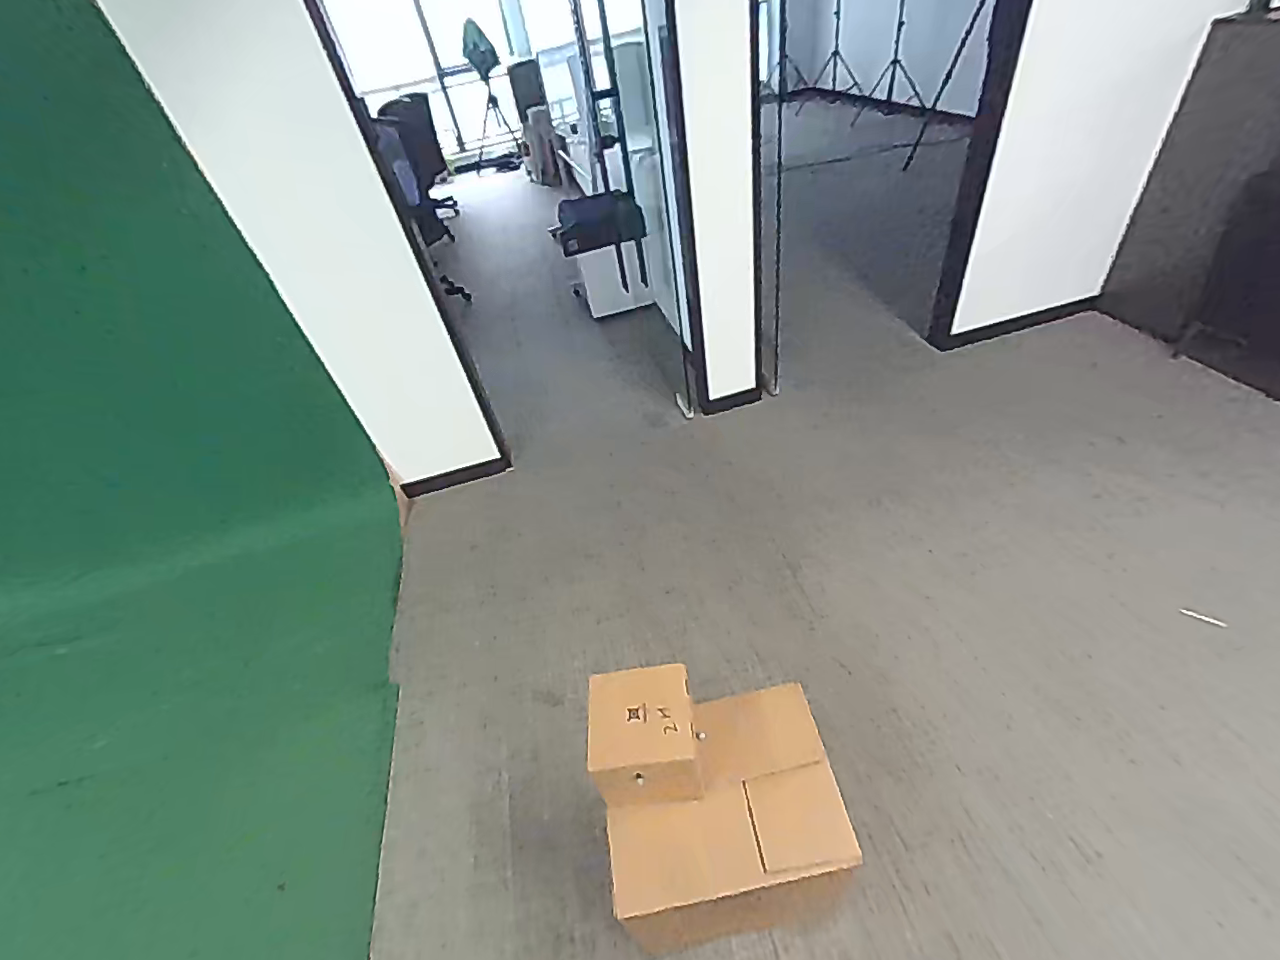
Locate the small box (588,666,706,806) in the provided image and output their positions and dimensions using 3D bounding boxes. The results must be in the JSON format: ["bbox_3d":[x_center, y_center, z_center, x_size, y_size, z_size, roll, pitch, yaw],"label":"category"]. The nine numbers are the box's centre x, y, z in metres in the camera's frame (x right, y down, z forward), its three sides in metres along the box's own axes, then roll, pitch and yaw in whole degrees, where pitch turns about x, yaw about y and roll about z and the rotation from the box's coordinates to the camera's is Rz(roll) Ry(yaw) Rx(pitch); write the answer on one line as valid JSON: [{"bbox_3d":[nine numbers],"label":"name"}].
[{"bbox_3d":[0.014,0.455,0.957,0.179,0.176,0.168,-9,41,4],"label":"small box"}]
